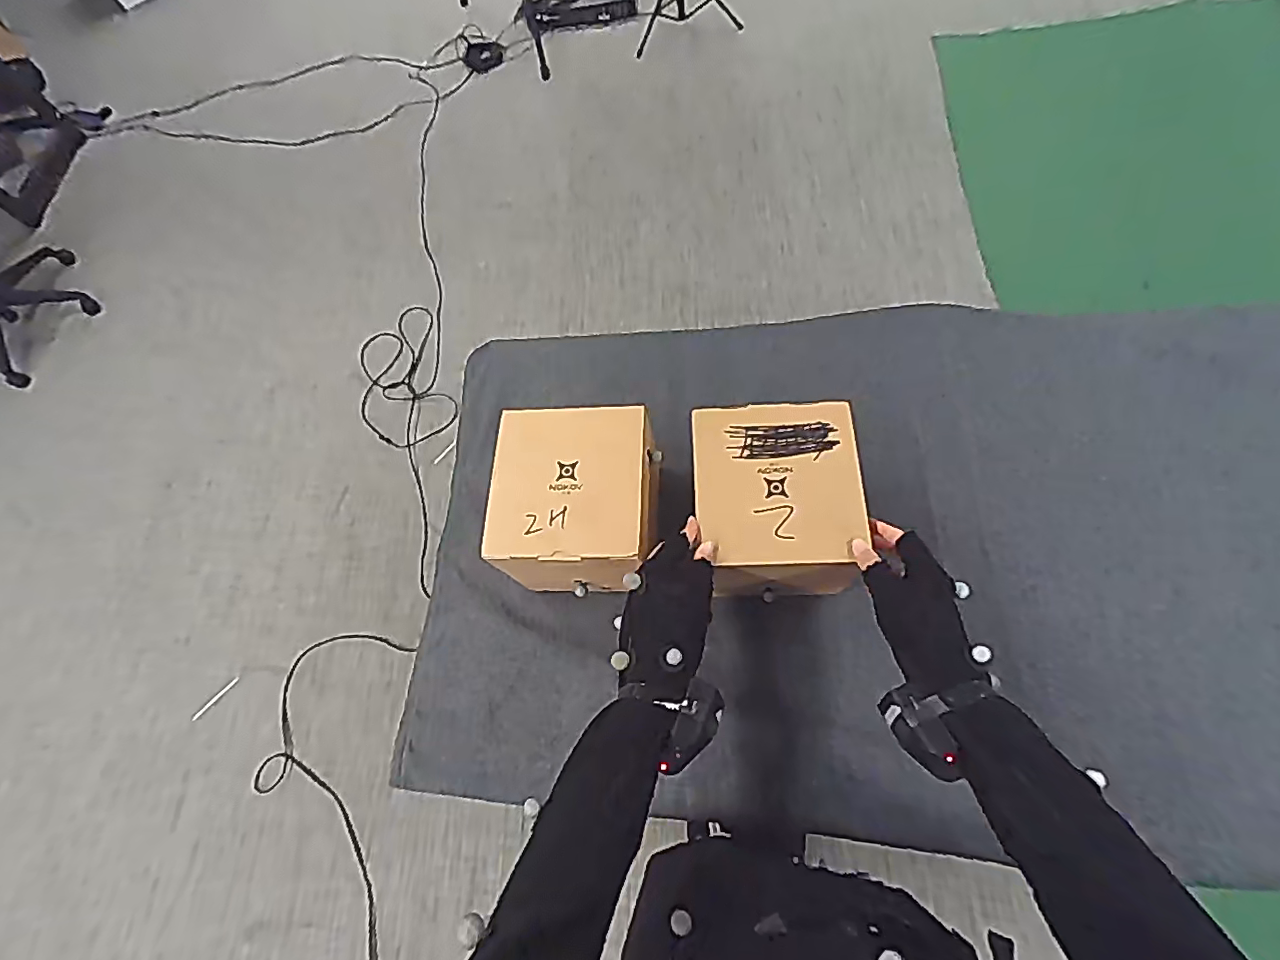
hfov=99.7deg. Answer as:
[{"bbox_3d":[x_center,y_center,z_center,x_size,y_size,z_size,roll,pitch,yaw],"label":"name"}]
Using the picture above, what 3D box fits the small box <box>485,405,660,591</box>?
[{"bbox_3d":[-0.066,0.027,0.650,0.168,0.176,0.179,-1,67,8],"label":"small box"}]
